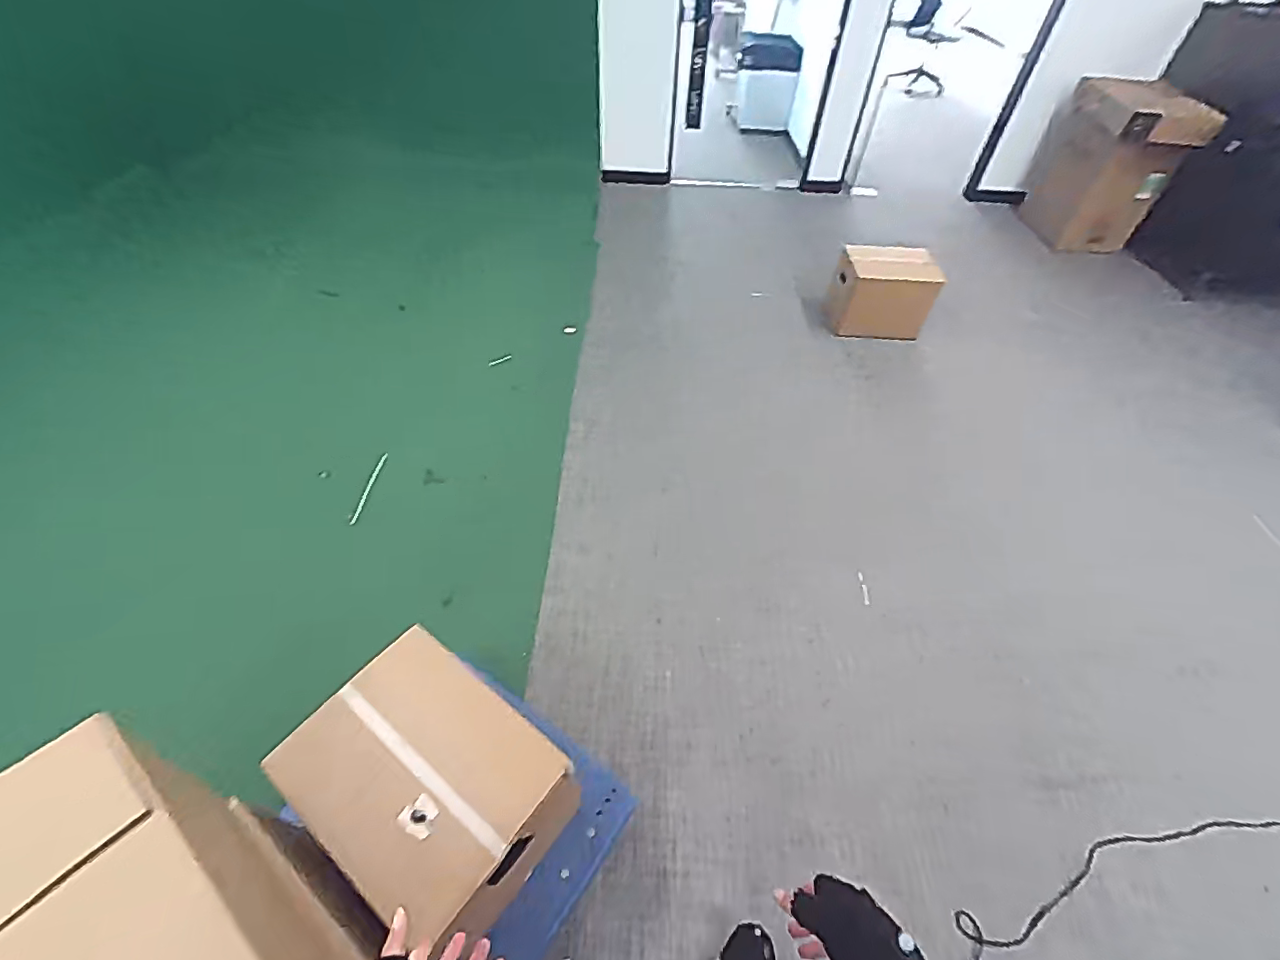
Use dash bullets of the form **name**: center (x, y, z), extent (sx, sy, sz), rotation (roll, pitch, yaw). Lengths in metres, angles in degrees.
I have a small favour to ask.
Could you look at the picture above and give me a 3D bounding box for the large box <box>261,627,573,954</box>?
- **large box**: center (-0.373, 0.556, 0.991), extent (0.408, 0.320, 0.320), rotation (31, 54, 22)
